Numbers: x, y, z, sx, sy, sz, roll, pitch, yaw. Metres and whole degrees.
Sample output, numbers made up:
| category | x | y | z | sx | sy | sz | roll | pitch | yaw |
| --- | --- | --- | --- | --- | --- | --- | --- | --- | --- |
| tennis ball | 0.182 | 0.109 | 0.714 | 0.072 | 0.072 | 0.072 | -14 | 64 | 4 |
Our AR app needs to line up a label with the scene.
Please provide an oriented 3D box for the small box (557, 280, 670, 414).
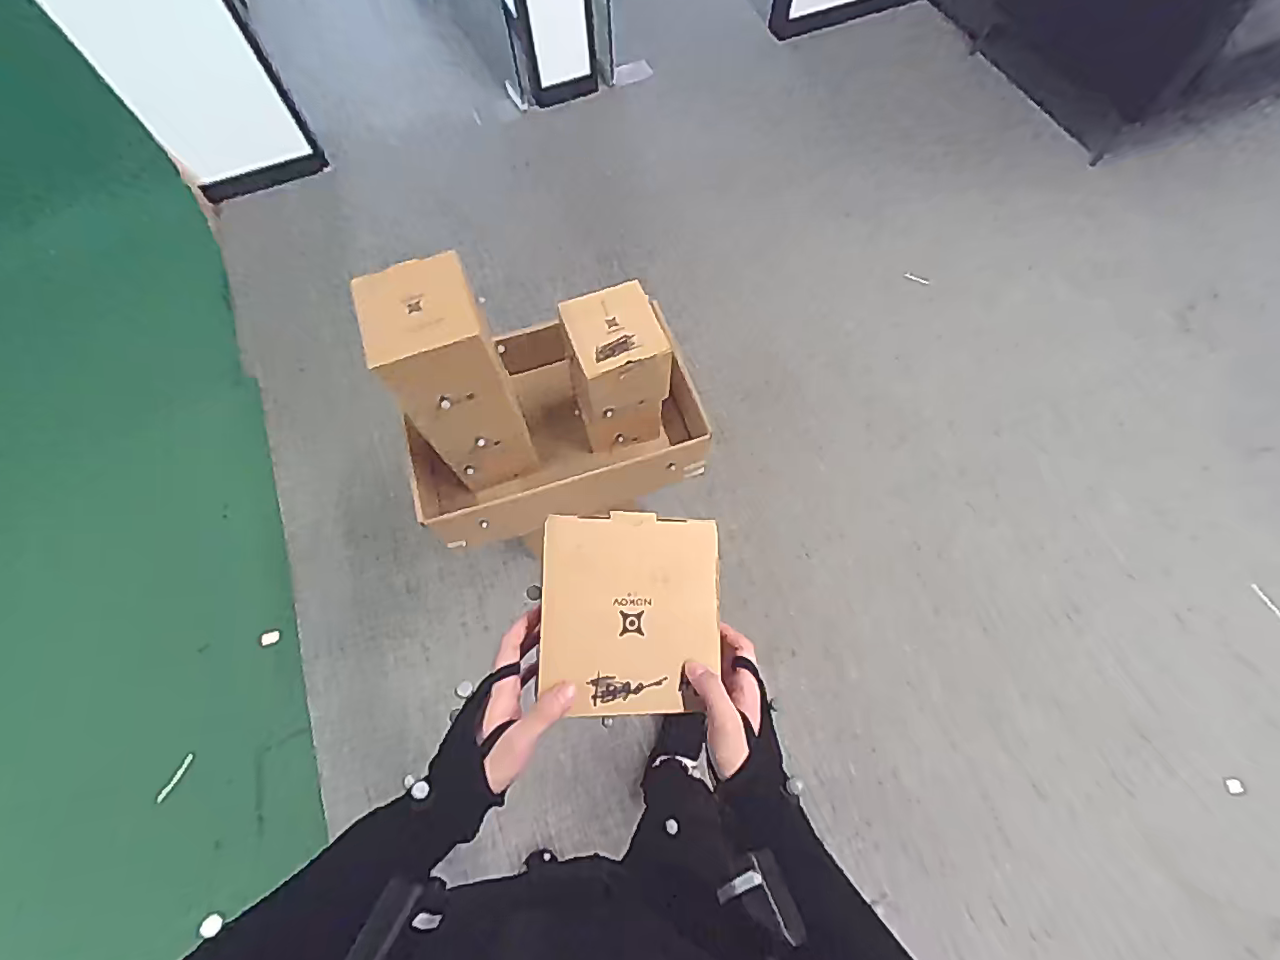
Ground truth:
| category | x | y | z | sx | sy | sz | roll | pitch | yaw |
| --- | --- | --- | --- | --- | --- | --- | --- | --- | --- |
| small box | -0.049 | -0.250 | 1.058 | 0.168 | 0.176 | 0.179 | -19 | 68 | -8 |

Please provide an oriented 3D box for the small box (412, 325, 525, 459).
| category | x | y | z | sx | sy | sz | roll | pitch | yaw |
| --- | --- | --- | --- | --- | --- | --- | --- | --- | --- |
| small box | -0.331 | -0.167 | 1.024 | 0.168 | 0.176 | 0.179 | -19 | 68 | -7 |

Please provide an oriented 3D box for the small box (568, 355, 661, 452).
| category | x | y | z | sx | sy | sz | roll | pitch | yaw |
| --- | --- | --- | --- | --- | --- | --- | --- | --- | --- |
| small box | -0.057 | -0.189 | 1.211 | 0.168 | 0.176 | 0.179 | -15 | 68 | -6 |

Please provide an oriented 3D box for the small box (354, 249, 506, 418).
| category | x | y | z | sx | sy | sz | roll | pitch | yaw |
| --- | --- | --- | --- | --- | --- | --- | --- | --- | --- |
| small box | -0.332 | -0.230 | 0.874 | 0.168 | 0.176 | 0.179 | -19 | 68 | -6 |
